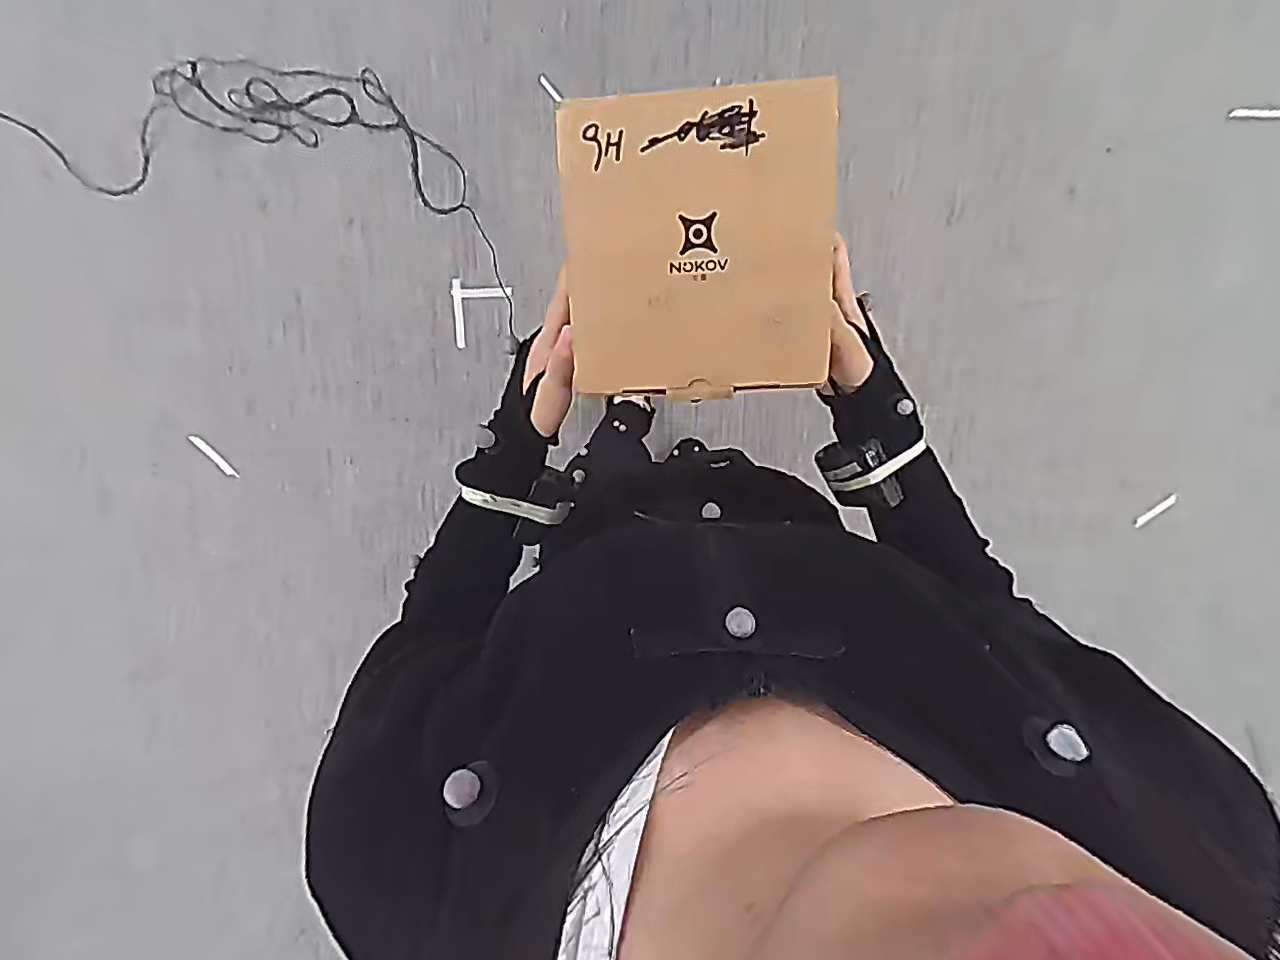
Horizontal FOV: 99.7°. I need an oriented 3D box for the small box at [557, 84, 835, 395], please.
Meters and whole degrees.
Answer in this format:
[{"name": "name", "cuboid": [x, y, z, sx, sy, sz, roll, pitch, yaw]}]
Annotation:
[{"name": "small box", "cuboid": [0.039, -0.165, 0.415, 0.168, 0.176, 0.179, -2, 105, 3]}]
